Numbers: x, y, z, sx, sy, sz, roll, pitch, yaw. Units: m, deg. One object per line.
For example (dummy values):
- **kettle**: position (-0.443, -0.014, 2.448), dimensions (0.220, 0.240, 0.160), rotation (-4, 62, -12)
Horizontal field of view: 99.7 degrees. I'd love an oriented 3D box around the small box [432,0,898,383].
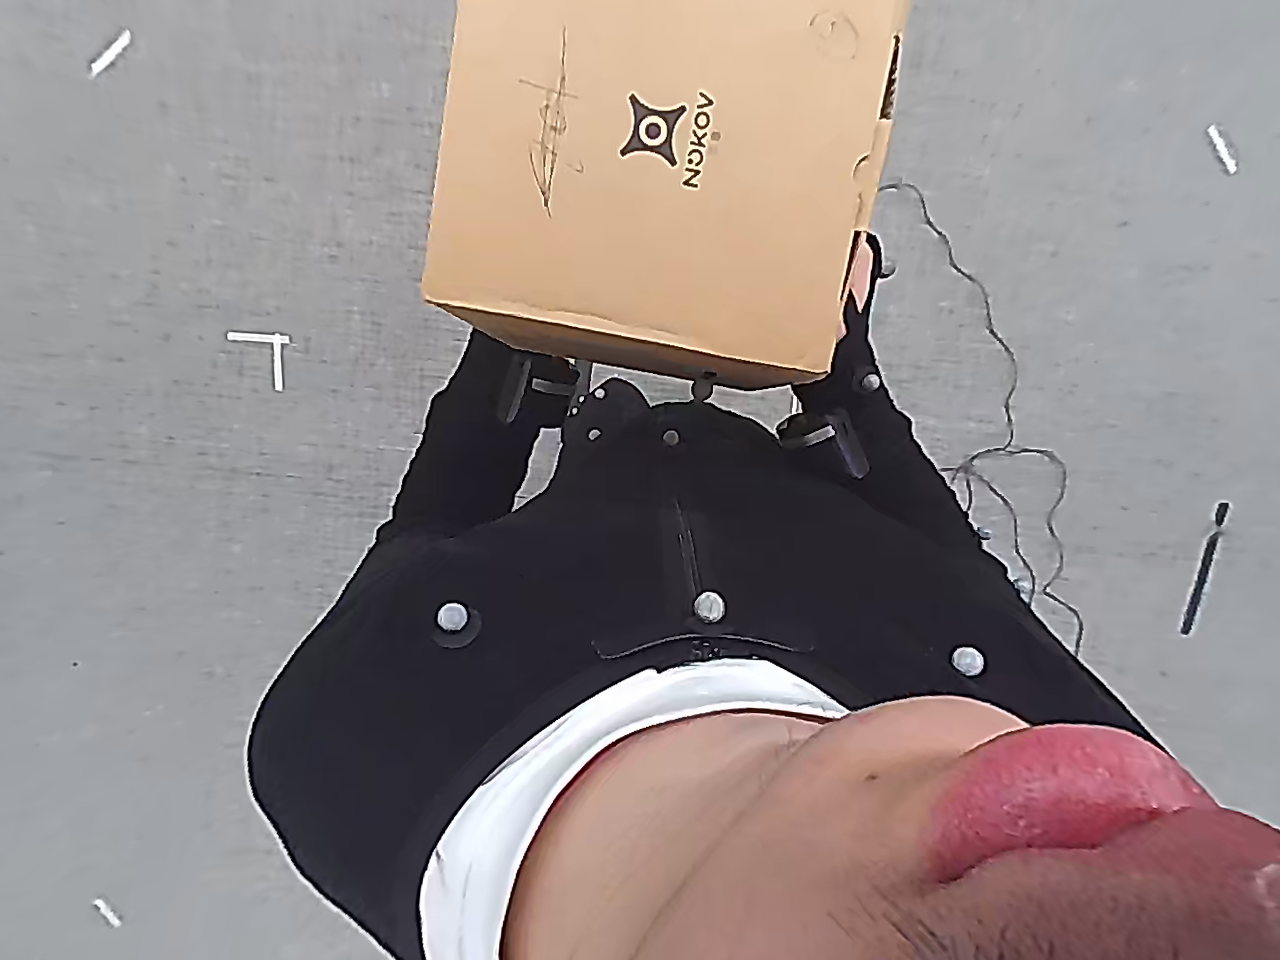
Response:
- **small box**: position (0.008, -0.152, 0.308), dimensions (0.179, 0.176, 0.168), rotation (10, 96, -1)
